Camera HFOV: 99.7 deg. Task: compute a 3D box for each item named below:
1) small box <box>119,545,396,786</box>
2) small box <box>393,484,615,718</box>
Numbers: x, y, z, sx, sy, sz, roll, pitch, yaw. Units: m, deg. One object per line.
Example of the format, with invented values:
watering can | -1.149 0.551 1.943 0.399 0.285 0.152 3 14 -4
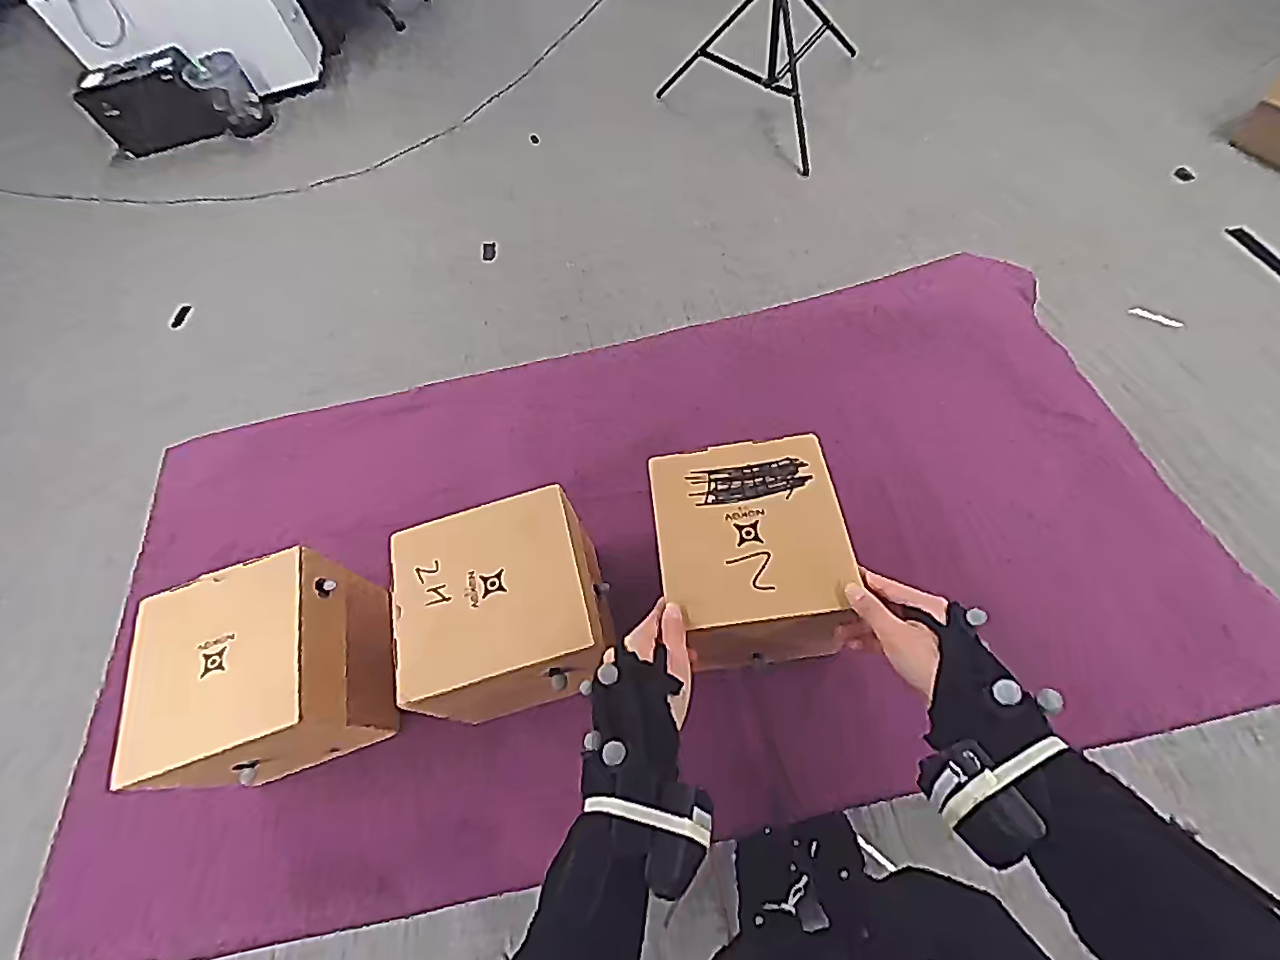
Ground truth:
small box | -0.378 0.199 0.569 0.168 0.176 0.179 -20 60 -2
small box | -0.130 0.133 0.563 0.179 0.176 0.168 -17 59 -2
